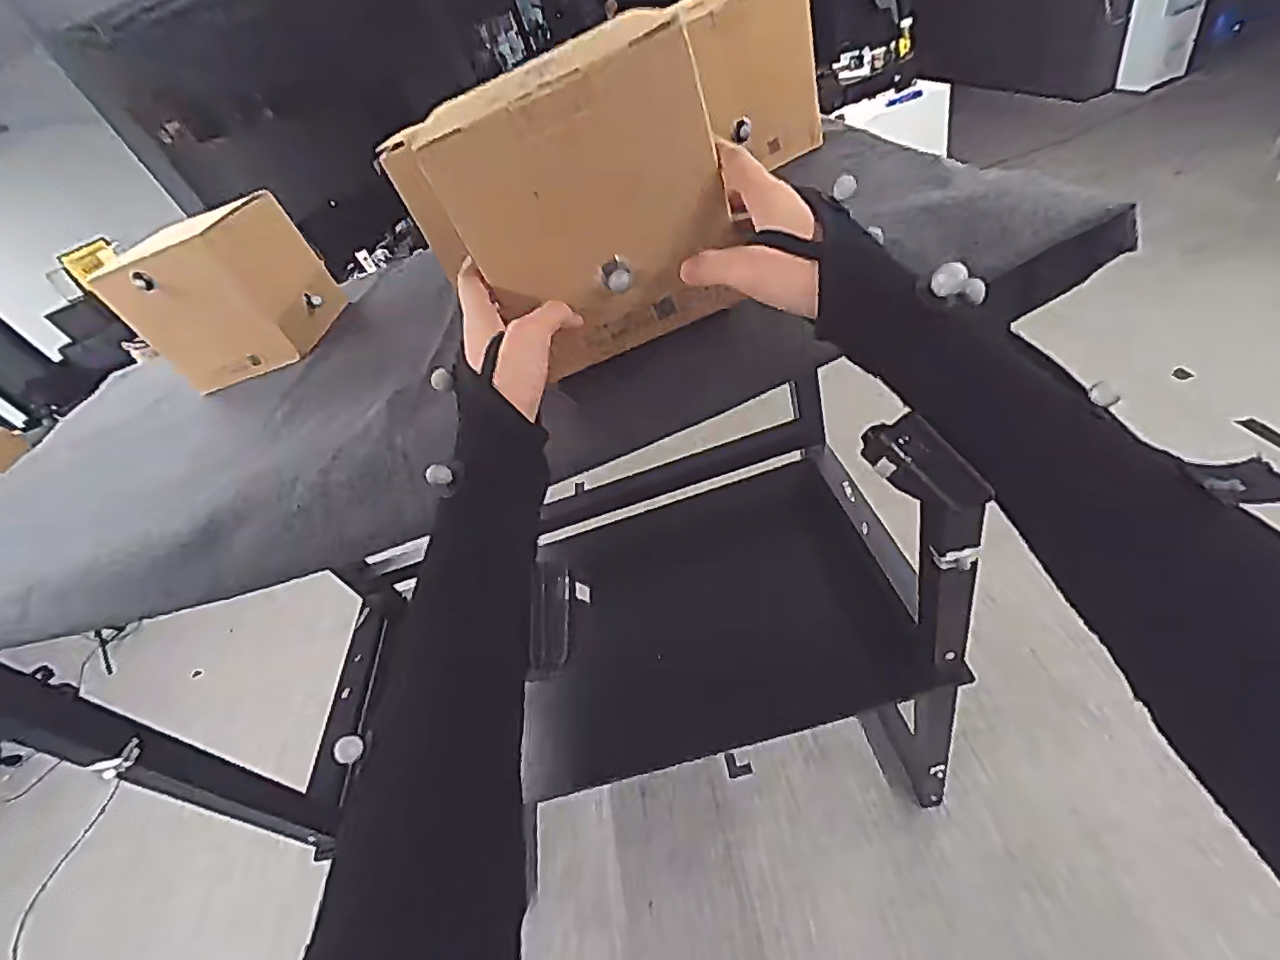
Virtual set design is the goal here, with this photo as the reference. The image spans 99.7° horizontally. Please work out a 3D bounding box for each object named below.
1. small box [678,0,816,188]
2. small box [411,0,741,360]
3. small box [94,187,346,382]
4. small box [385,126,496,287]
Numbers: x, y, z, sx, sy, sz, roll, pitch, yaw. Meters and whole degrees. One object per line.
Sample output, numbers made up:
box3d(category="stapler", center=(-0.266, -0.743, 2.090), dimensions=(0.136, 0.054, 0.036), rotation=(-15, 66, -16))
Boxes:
box3d(category="small box", center=(0.090, -0.468, 0.647), dimensions=(0.168, 0.176, 0.179), rotation=(-27, 43, -2))
box3d(category="small box", center=(-0.039, -0.221, 0.409), dimensions=(0.168, 0.176, 0.179), rotation=(-22, 42, 7))
box3d(category="small box", center=(-0.534, -0.259, 0.724), dimensions=(0.168, 0.176, 0.179), rotation=(-15, 41, 10))
box3d(category="small box", center=(-0.175, -0.360, 0.661), dimensions=(0.168, 0.176, 0.179), rotation=(-20, 40, 4))
